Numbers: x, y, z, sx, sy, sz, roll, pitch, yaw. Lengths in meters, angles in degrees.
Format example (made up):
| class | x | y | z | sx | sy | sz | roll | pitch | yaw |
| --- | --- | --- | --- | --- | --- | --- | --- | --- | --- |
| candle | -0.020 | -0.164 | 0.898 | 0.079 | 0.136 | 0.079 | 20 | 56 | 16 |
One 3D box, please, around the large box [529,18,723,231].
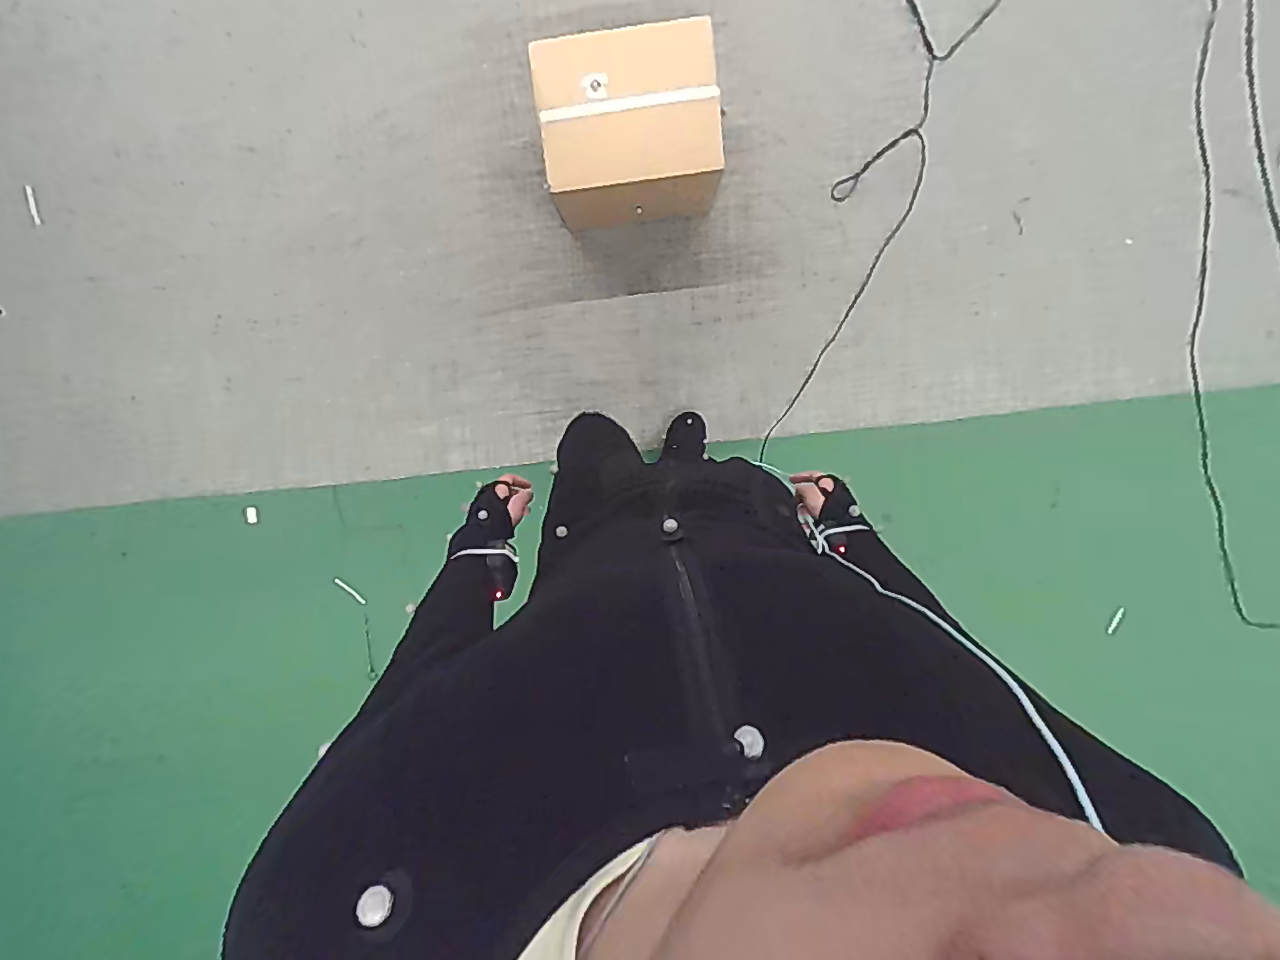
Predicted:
| class | x | y | z | sx | sy | sz | roll | pitch | yaw |
| --- | --- | --- | --- | --- | --- | --- | --- | --- | --- |
| large box | -0.024 | -0.853 | 1.354 | 0.408 | 0.320 | 0.320 | -7 | 98 | 3 |
